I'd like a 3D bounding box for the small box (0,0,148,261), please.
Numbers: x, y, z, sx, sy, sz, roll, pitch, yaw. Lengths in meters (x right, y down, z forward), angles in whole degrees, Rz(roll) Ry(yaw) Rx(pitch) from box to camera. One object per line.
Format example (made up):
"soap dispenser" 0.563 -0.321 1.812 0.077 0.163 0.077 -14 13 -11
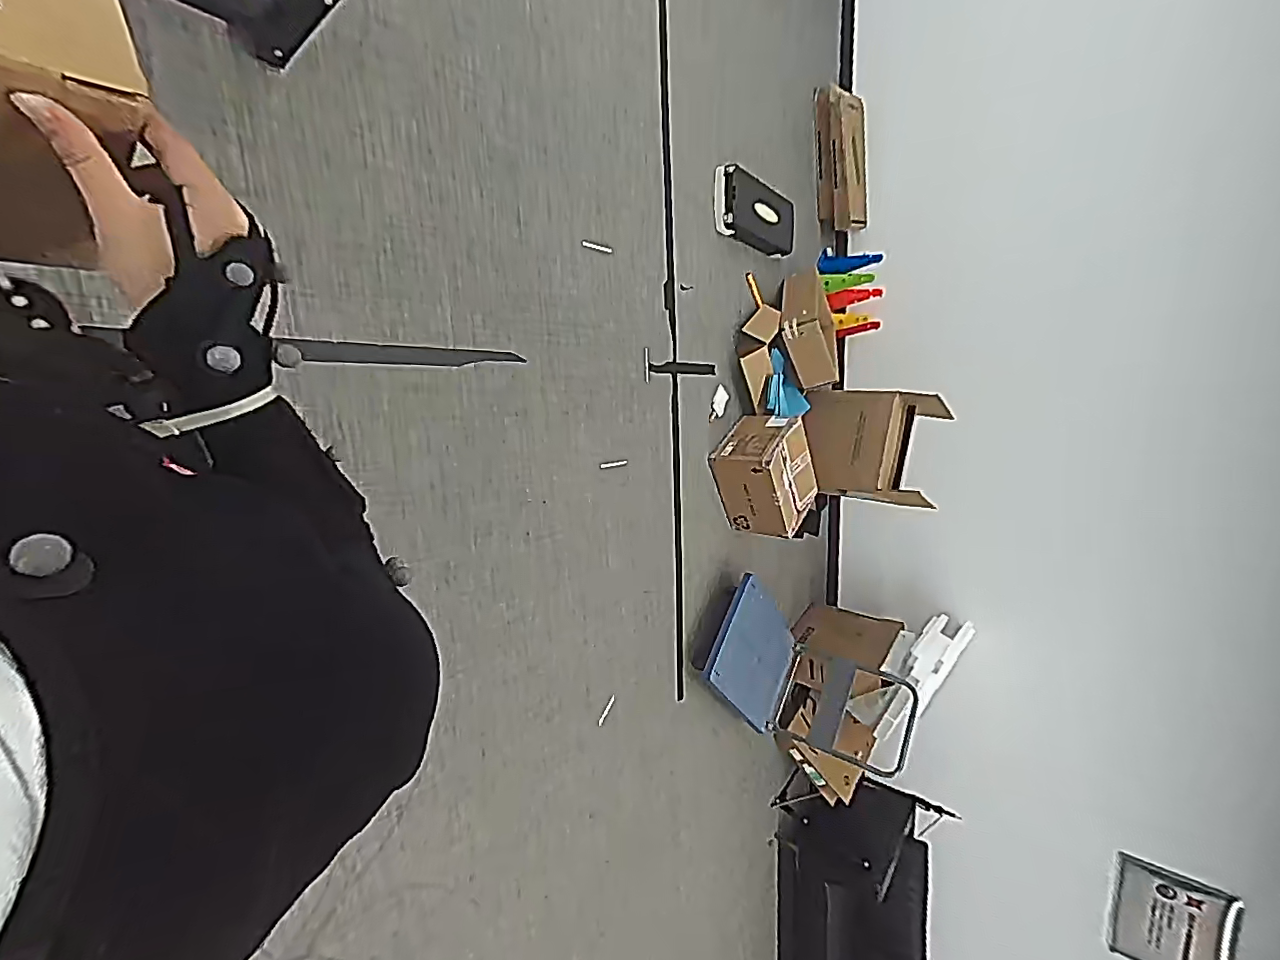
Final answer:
"small box" -0.378 -0.232 0.259 0.168 0.176 0.179 -16 87 -54
